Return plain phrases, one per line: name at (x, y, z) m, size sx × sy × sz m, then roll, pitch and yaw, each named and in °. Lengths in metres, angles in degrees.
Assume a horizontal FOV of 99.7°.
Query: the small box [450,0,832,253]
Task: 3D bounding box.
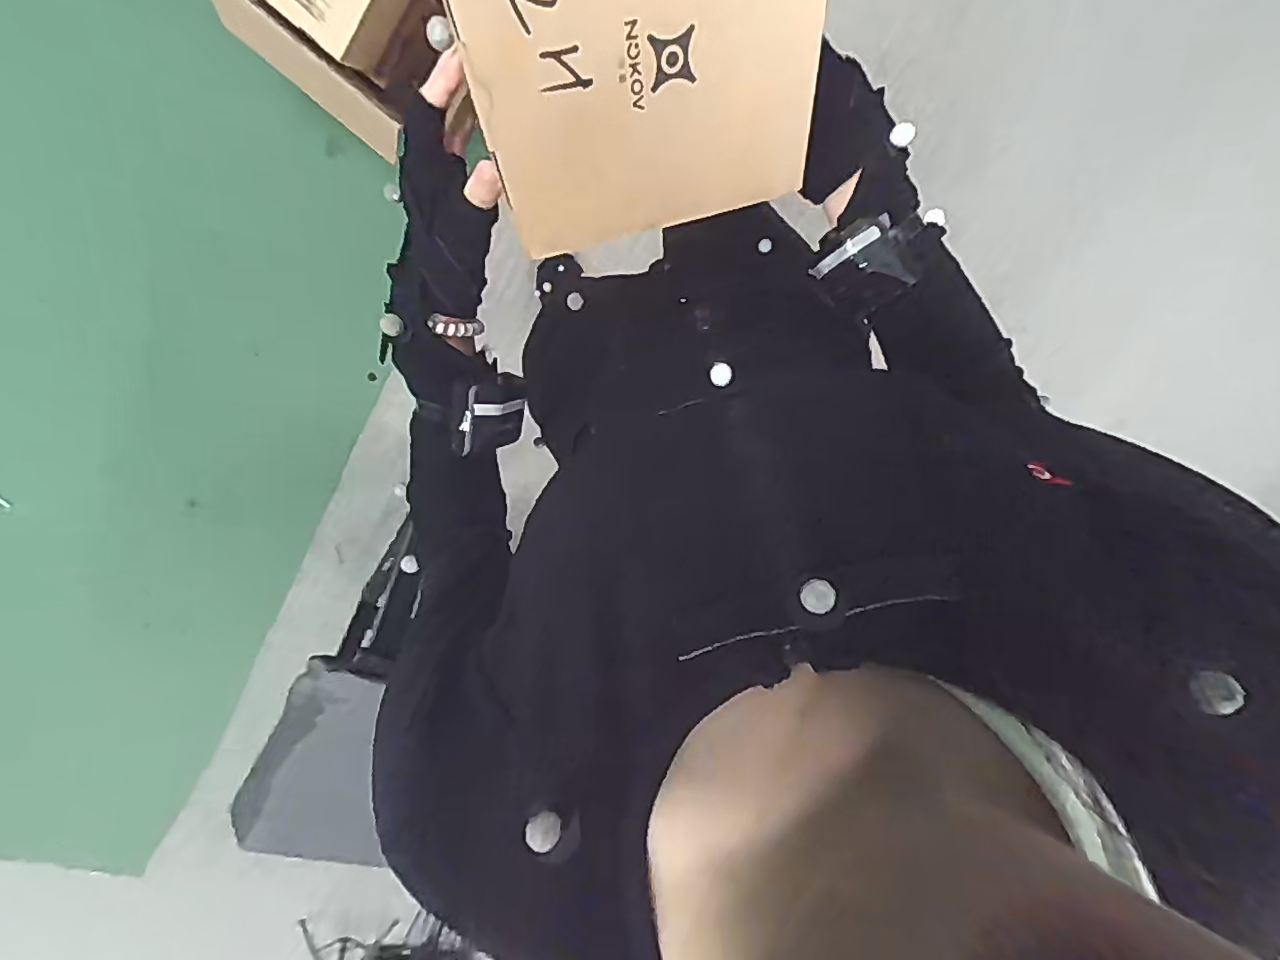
small box at (-0.012, -0.263, 0.302) m, size 0.179 × 0.176 × 0.168 m, roll -16°, pitch 143°, yaw -5°
